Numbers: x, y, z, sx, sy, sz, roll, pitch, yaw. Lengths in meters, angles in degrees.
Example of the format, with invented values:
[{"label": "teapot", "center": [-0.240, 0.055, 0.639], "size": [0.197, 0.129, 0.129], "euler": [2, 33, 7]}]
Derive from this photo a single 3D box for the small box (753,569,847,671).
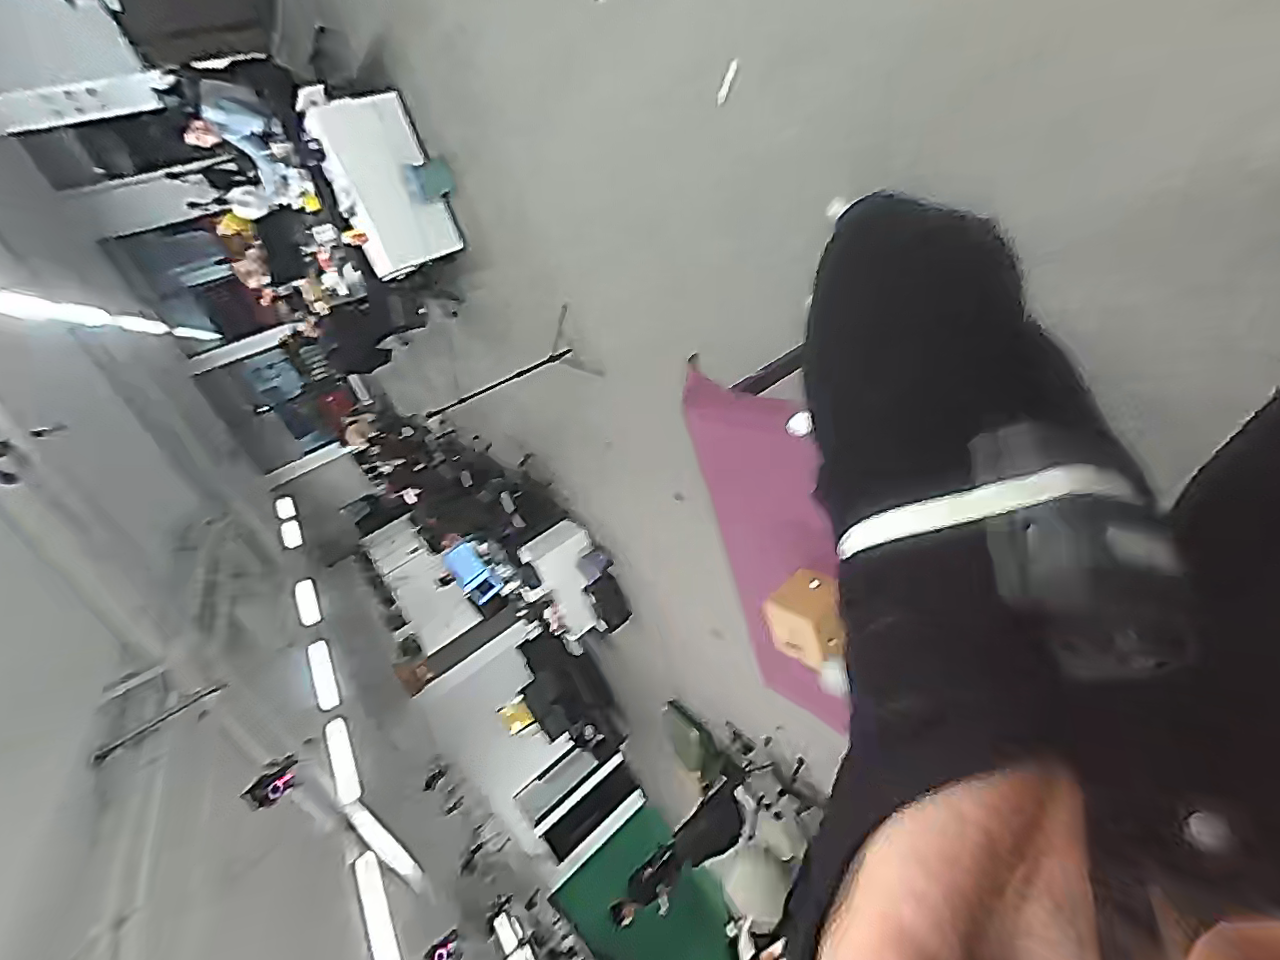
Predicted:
[{"label": "small box", "center": [0.445, 0.378, 1.485], "size": [0.168, 0.176, 0.179], "euler": [14, 131, 54]}]
